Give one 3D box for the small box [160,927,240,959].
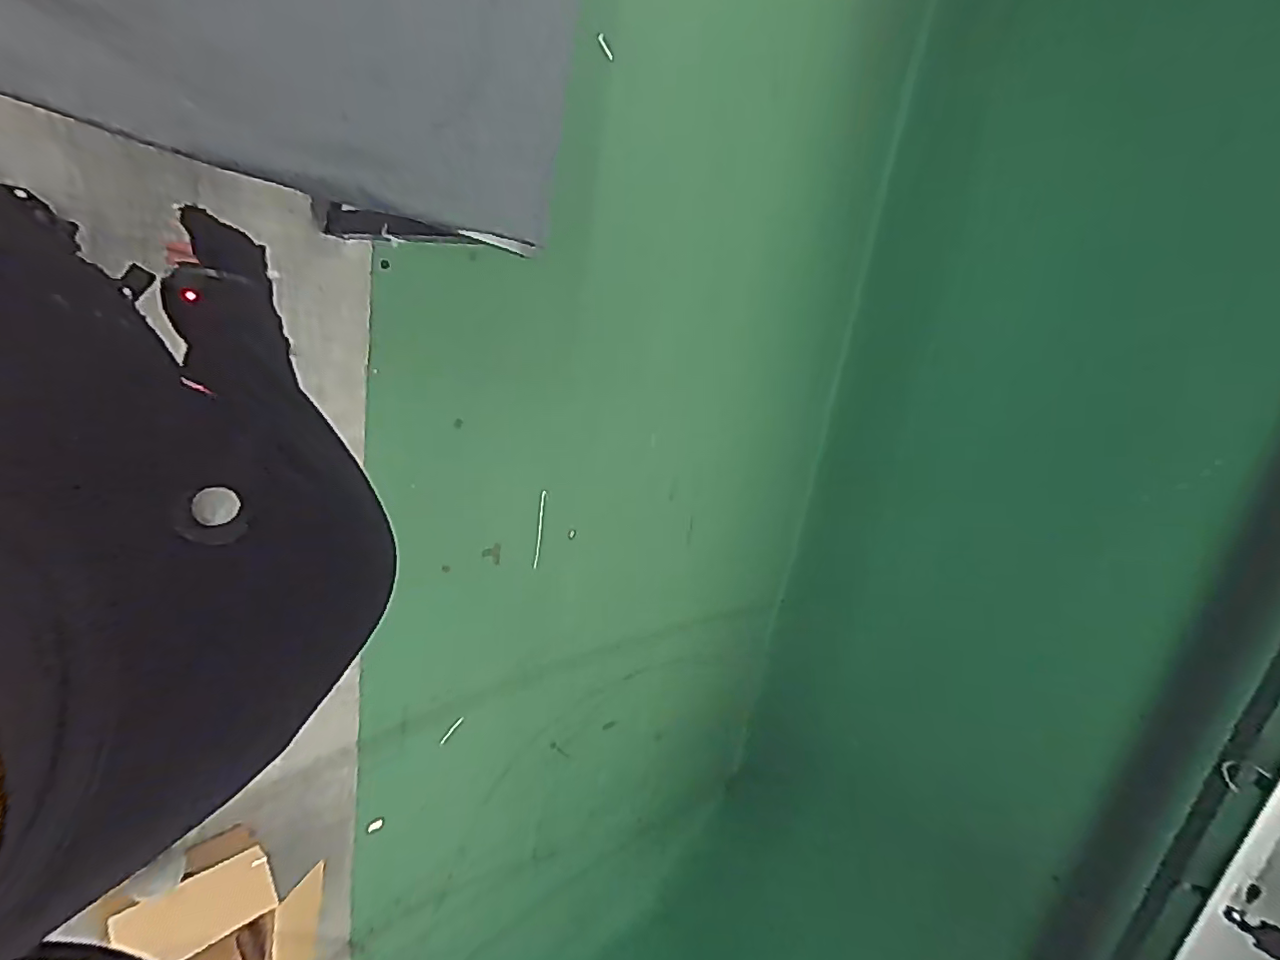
[{"bbox_3d":[-1.083,1.252,1.302,0.179,0.176,0.168,-2,108,-50],"label":"small box"}]
